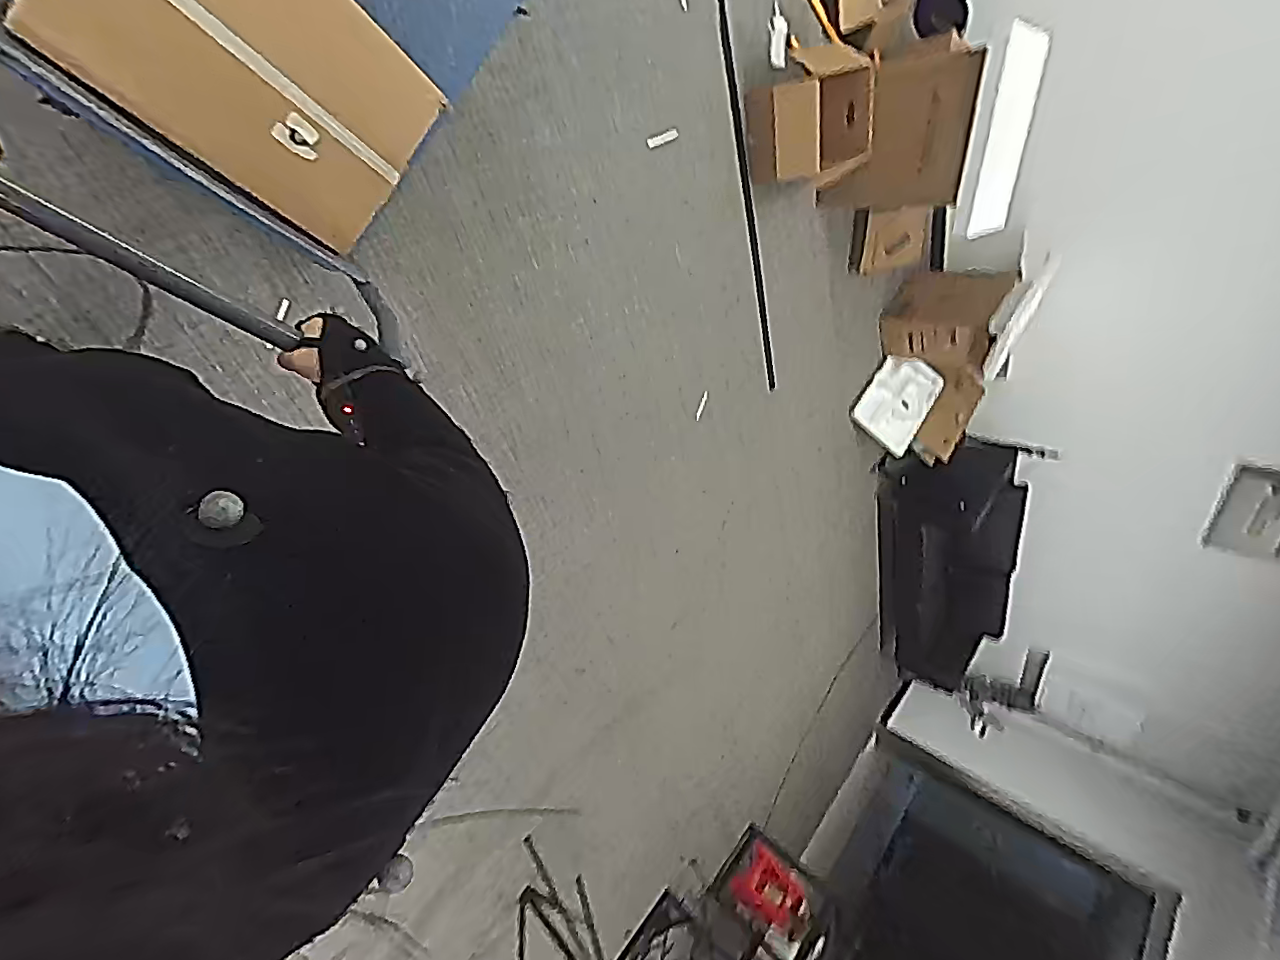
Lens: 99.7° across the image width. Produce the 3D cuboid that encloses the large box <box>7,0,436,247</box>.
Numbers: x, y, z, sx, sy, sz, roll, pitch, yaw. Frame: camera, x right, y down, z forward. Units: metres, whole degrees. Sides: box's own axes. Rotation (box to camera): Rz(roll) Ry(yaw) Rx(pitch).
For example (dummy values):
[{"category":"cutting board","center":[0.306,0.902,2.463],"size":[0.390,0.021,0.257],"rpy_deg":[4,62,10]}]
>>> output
[{"category":"large box","center":[-0.624,-0.652,0.857],"size":[0.320,0.320,0.408],"rpy_deg":[-53,139,4]}]
